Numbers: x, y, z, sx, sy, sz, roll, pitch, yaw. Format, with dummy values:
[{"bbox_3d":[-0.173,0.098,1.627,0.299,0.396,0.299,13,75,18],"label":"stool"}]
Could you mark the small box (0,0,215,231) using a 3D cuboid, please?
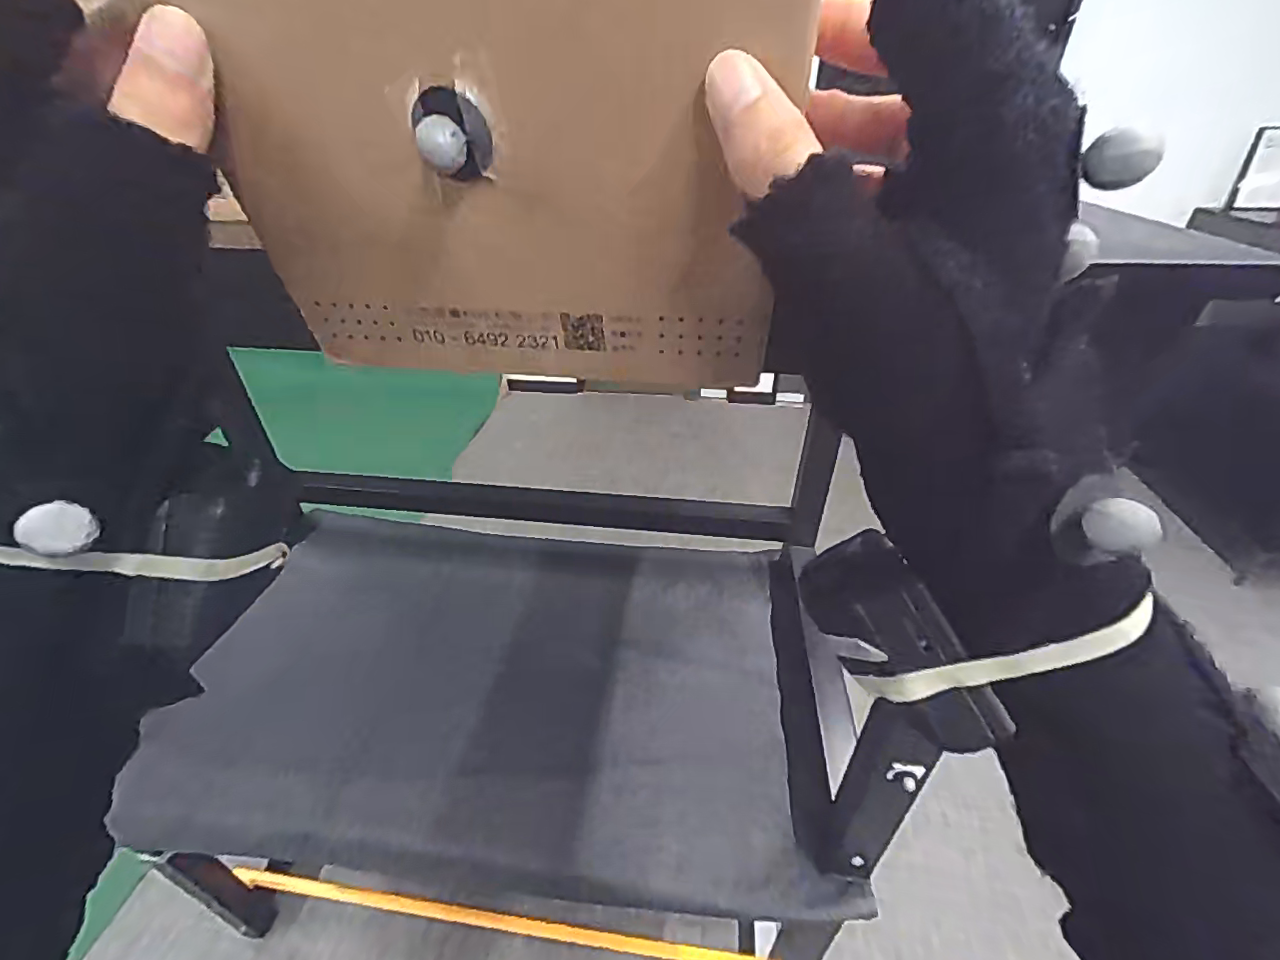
[{"bbox_3d":[-0.472,-0.285,0.393,0.168,0.176,0.179,4,35,8],"label":"small box"}]
